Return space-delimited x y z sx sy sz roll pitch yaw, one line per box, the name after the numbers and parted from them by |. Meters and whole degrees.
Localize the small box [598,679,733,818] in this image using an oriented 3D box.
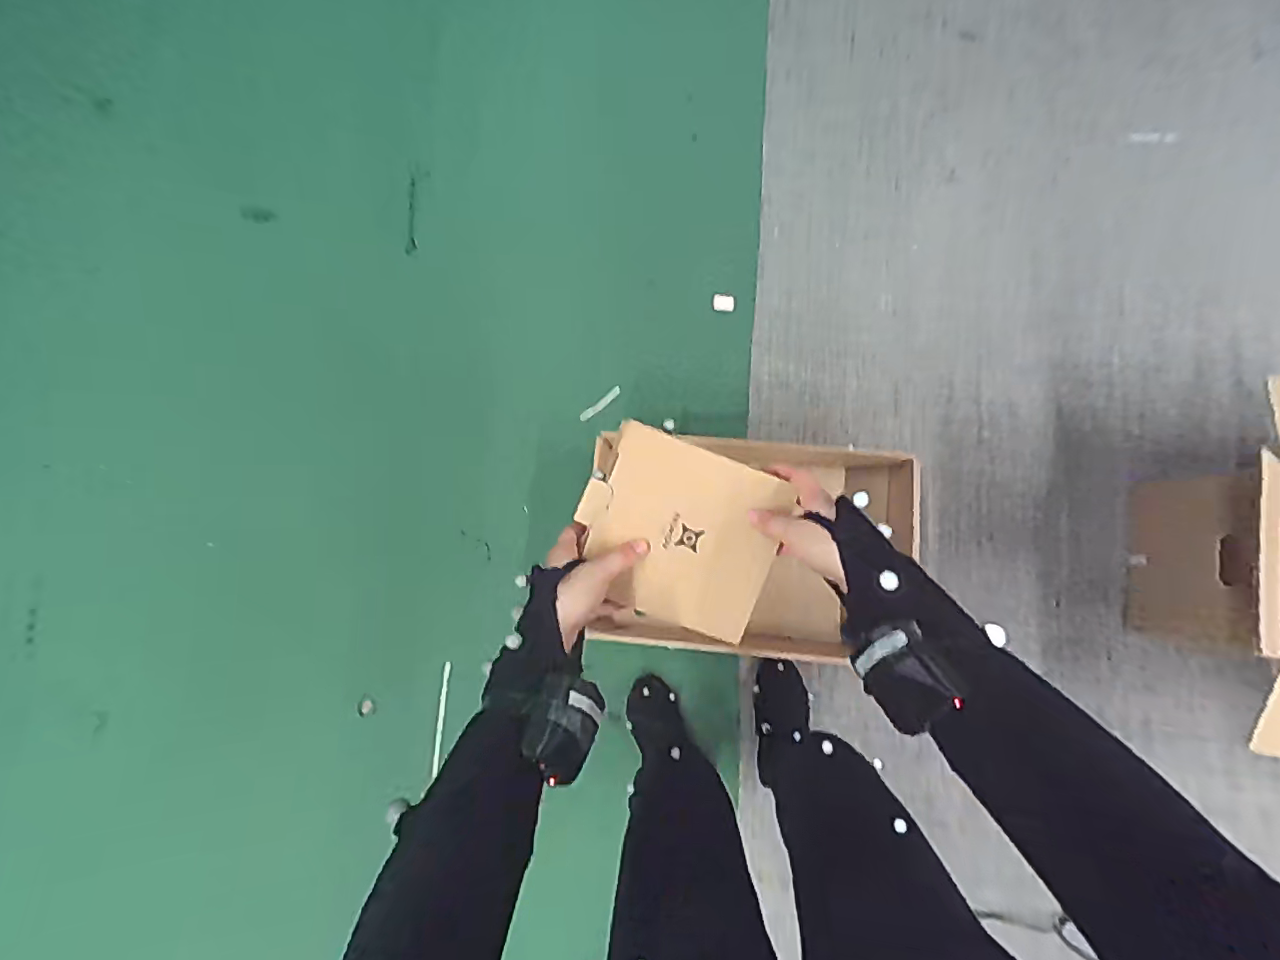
0.056 0.516 1.055 0.176 0.168 0.179 40 58 -15 | small box

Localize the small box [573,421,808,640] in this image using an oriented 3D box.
0.044 0.039 0.577 0.179 0.176 0.168 20 95 -4 | small box
